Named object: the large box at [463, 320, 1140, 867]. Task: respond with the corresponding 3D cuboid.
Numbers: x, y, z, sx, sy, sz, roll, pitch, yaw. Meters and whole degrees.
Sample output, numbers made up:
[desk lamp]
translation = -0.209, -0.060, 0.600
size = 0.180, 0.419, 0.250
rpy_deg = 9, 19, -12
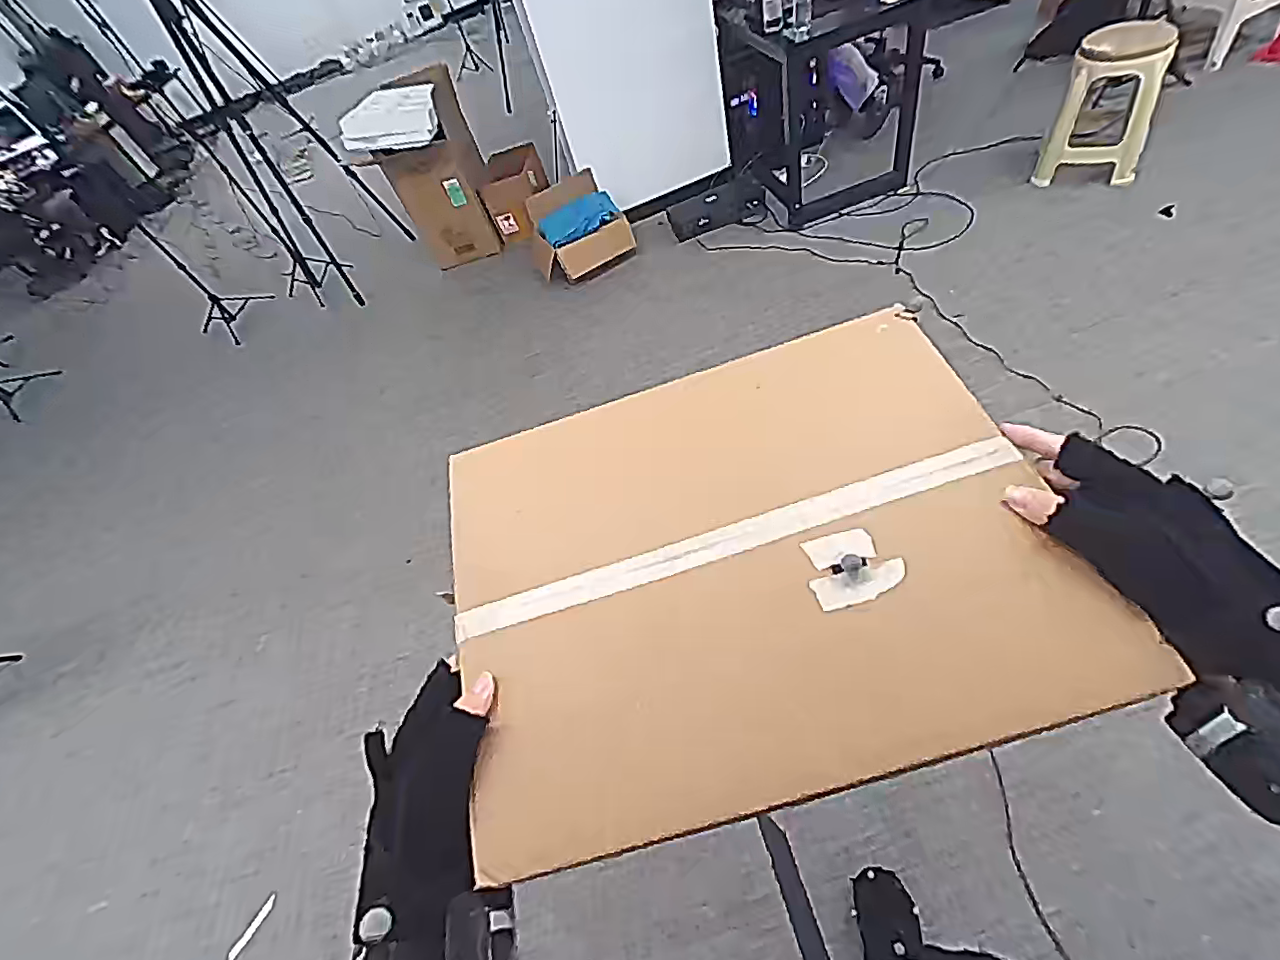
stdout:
[large box]
translation = 0.095, 0.121, 0.521
size = 0.408, 0.320, 0.320
rpy_deg = -19, 58, 2
